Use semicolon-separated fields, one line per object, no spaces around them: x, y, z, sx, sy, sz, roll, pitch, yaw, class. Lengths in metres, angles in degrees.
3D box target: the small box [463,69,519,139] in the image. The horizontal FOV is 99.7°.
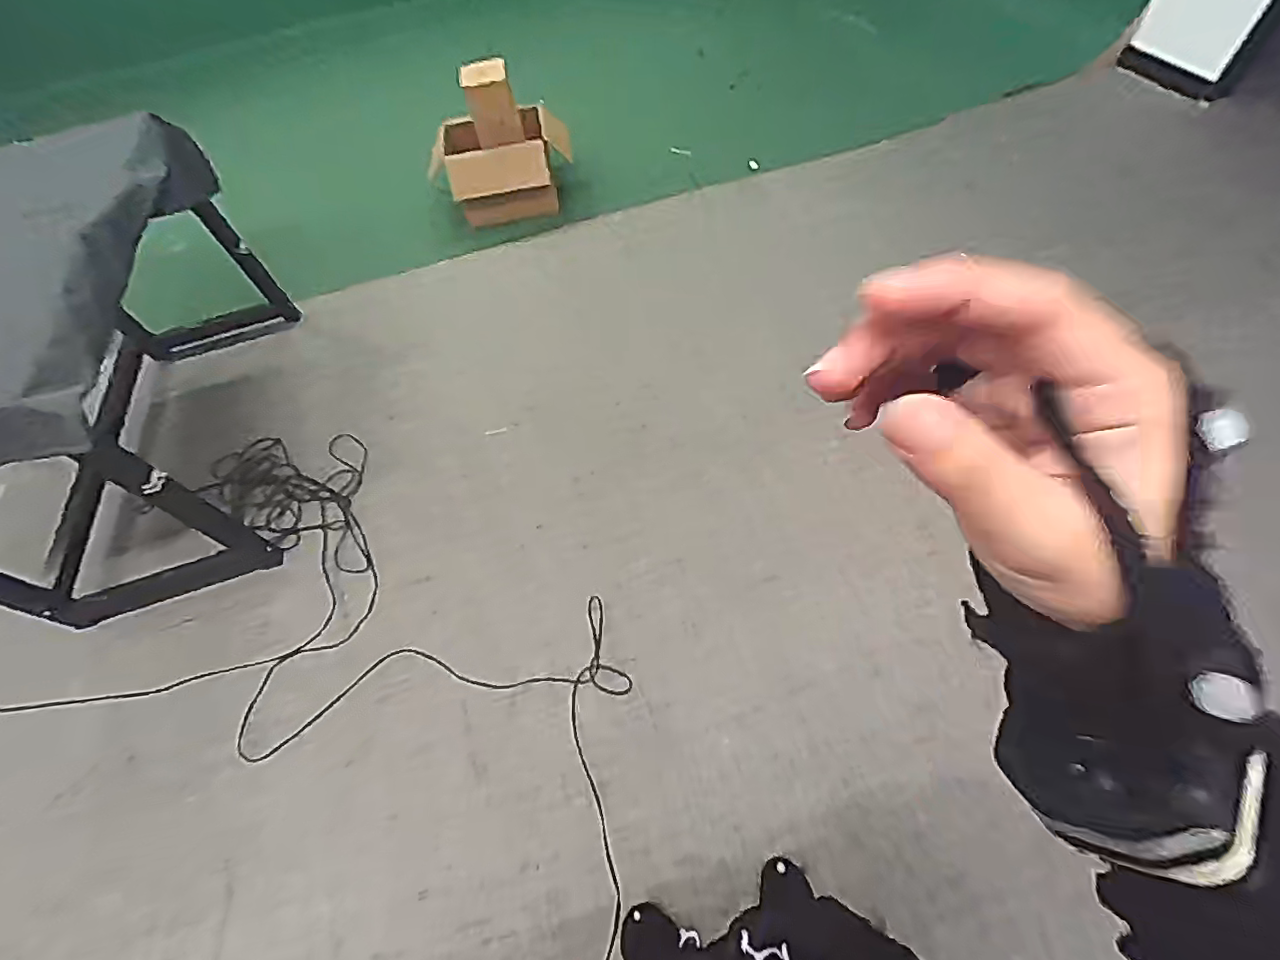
-0.577;-1.456;2.104;0.168;0.176;0.179;-12;56;-1;small box
